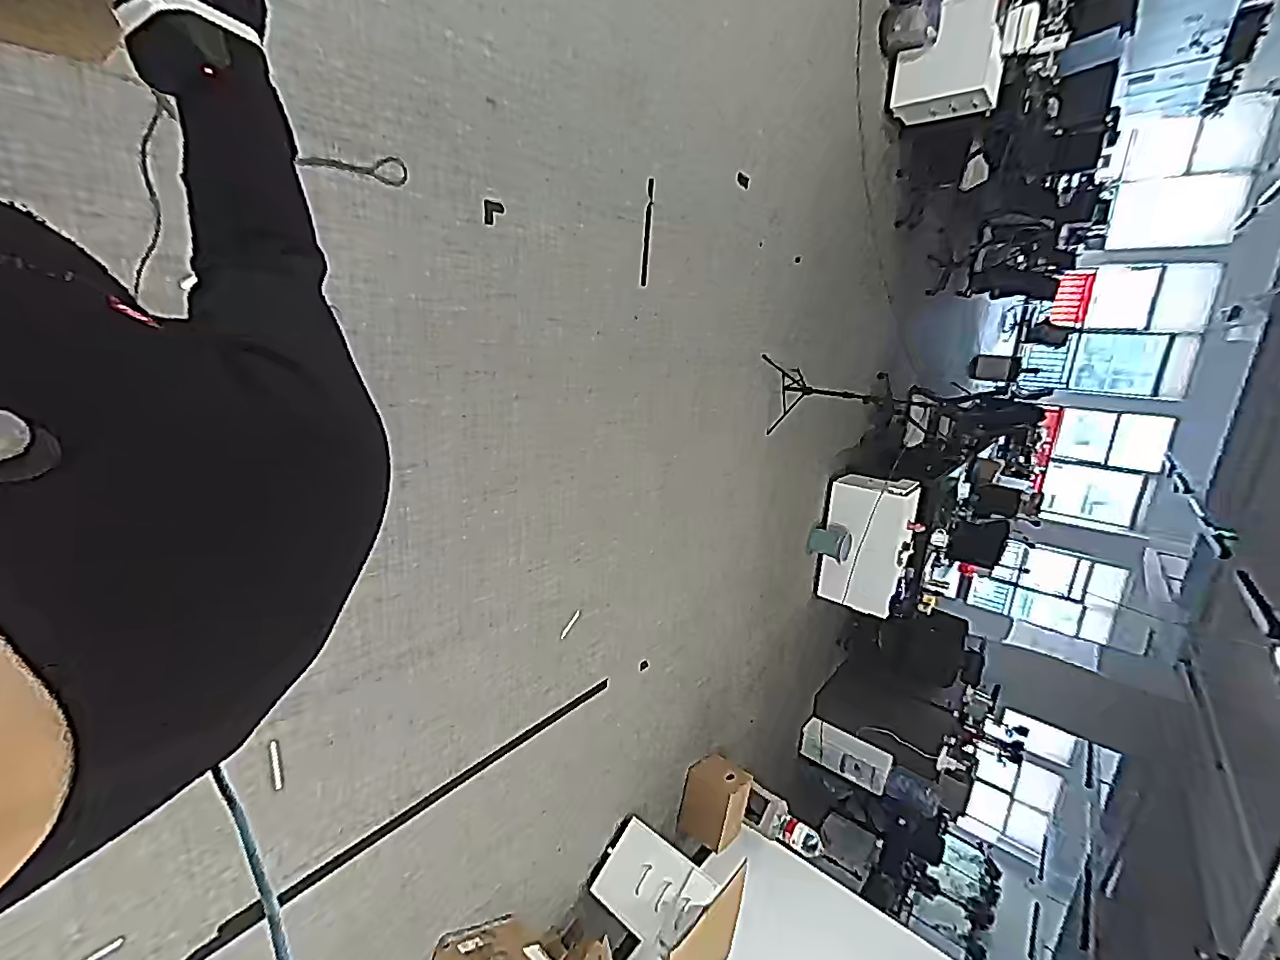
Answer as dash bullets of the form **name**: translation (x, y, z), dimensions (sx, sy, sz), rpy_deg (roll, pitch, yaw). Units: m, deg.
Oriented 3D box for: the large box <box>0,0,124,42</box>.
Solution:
- **large box**: translation (-0.563, -0.493, 0.266), dimensions (0.408, 0.320, 0.320), rpy_deg (-19, 122, -47)
